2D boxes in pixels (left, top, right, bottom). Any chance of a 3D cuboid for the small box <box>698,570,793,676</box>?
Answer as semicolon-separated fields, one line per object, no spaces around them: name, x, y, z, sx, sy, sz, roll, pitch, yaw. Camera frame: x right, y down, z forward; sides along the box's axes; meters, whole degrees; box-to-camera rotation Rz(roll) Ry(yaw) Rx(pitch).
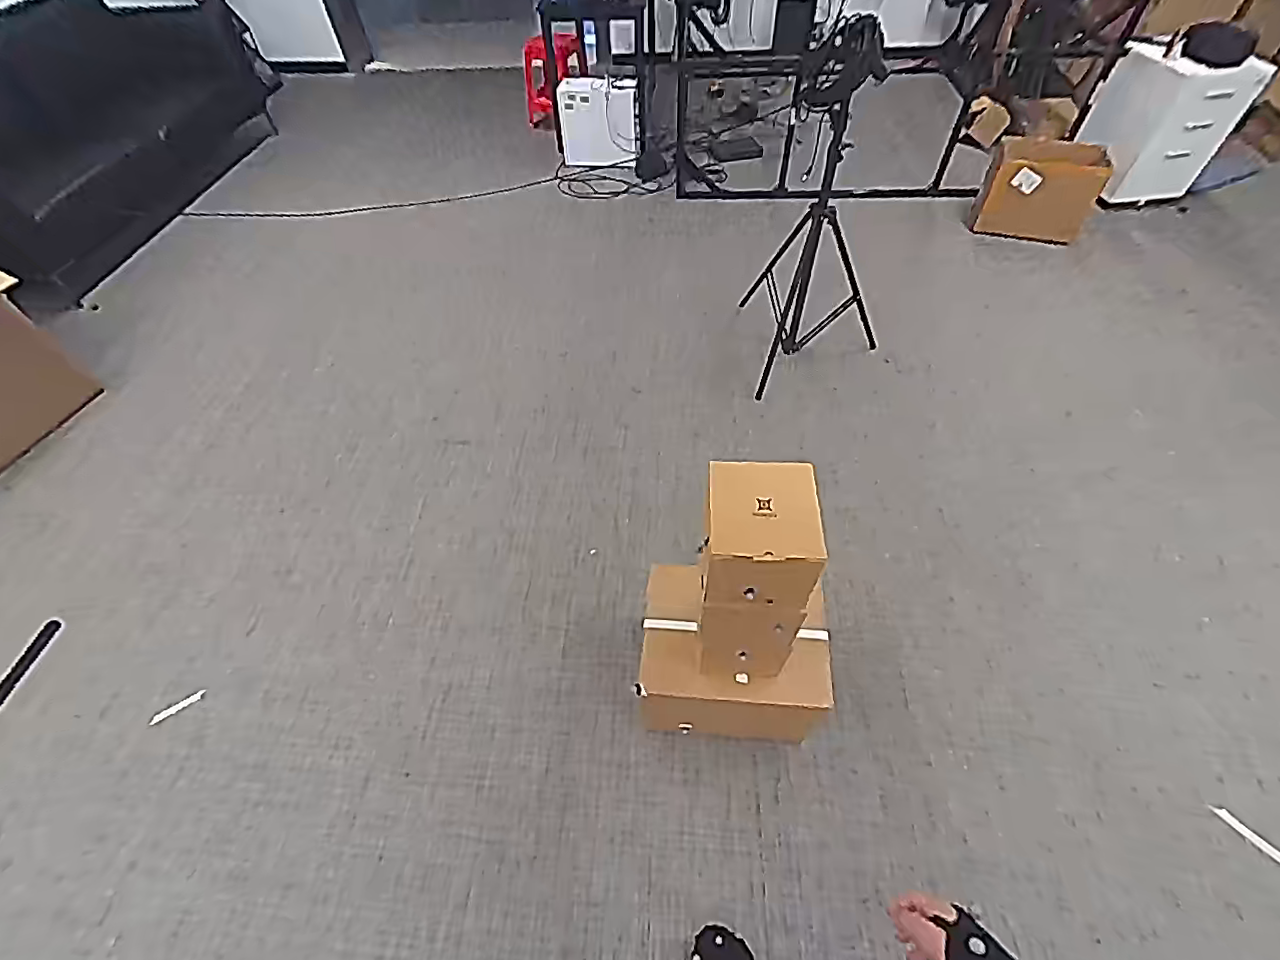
small box;0.211;0.302;1.132;0.179;0.176;0.168;2;54;3

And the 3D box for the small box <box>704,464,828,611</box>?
small box;0.191;0.095;0.879;0.168;0.176;0.179;2;54;4
